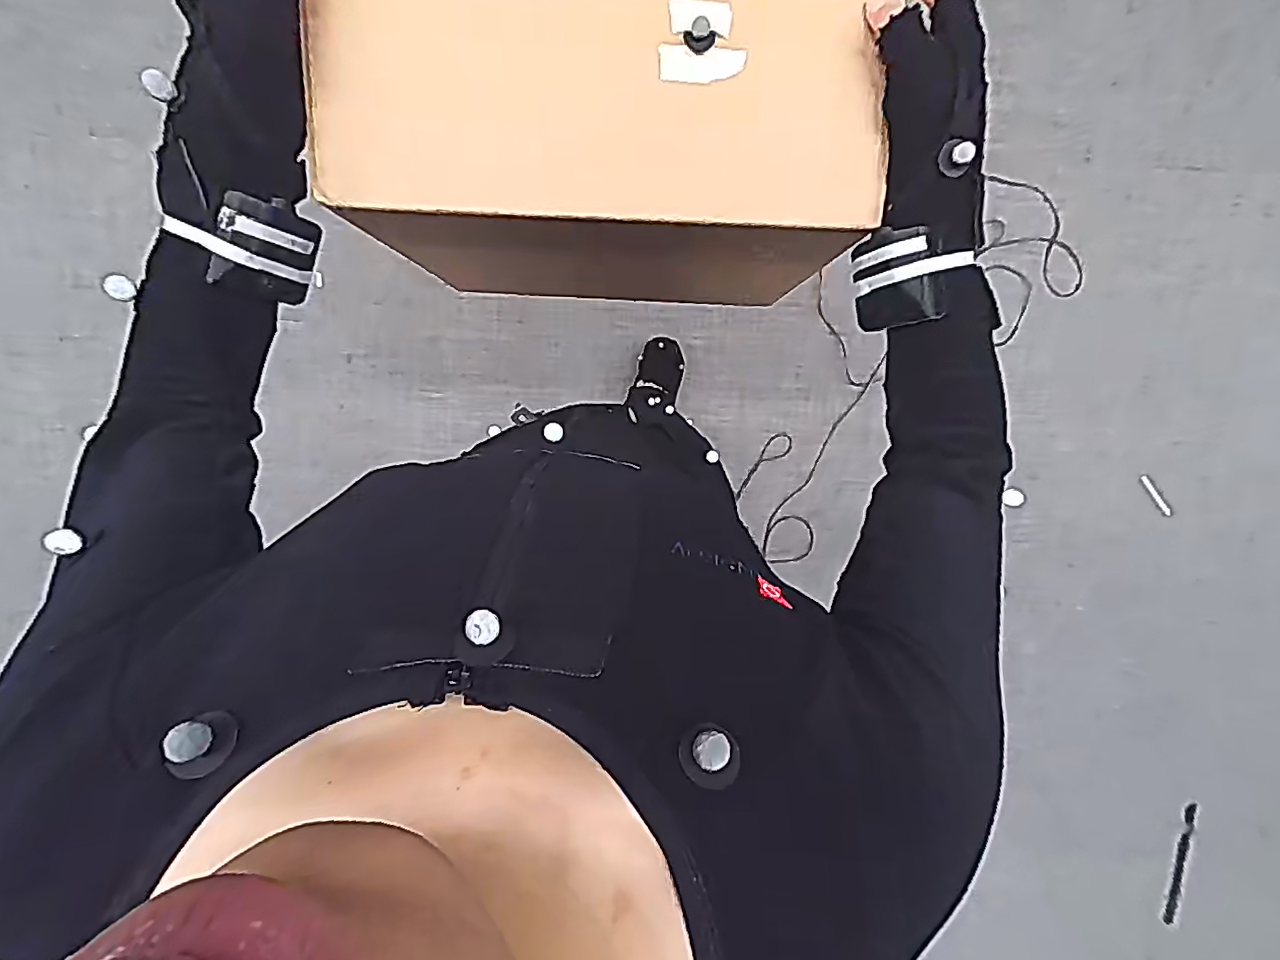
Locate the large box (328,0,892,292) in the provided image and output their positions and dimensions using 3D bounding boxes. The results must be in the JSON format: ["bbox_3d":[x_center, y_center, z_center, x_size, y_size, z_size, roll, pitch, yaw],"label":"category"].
[{"bbox_3d":[-0.022,-0.376,0.525,0.408,0.320,0.320,2,98,-1],"label":"large box"}]
